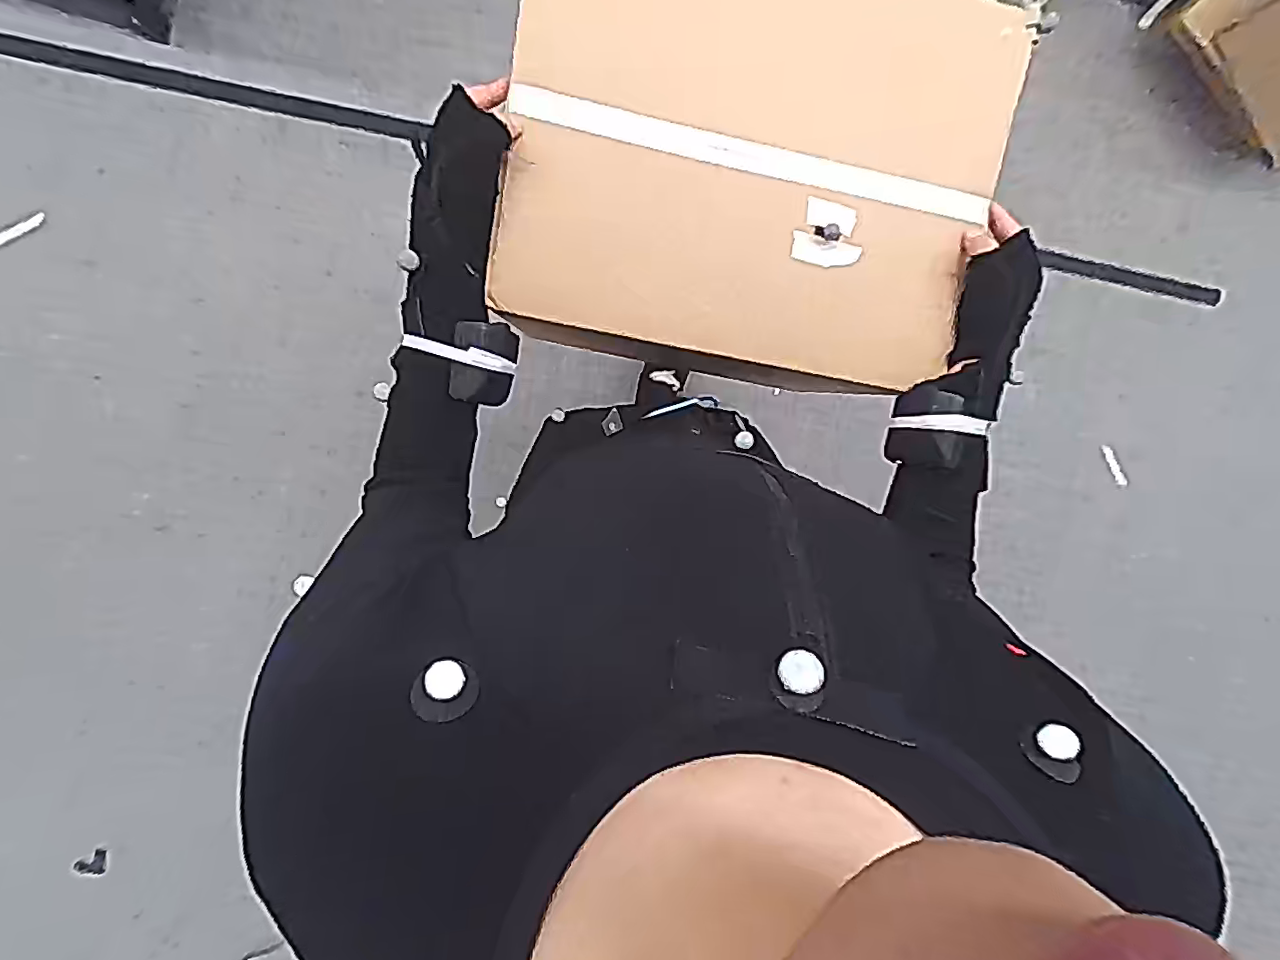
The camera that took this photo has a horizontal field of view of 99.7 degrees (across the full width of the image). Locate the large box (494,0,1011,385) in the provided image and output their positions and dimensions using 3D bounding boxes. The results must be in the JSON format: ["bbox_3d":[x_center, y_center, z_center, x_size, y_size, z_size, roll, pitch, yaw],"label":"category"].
[{"bbox_3d":[0.078,-0.291,0.597,0.408,0.320,0.320,9,100,-8],"label":"large box"}]
